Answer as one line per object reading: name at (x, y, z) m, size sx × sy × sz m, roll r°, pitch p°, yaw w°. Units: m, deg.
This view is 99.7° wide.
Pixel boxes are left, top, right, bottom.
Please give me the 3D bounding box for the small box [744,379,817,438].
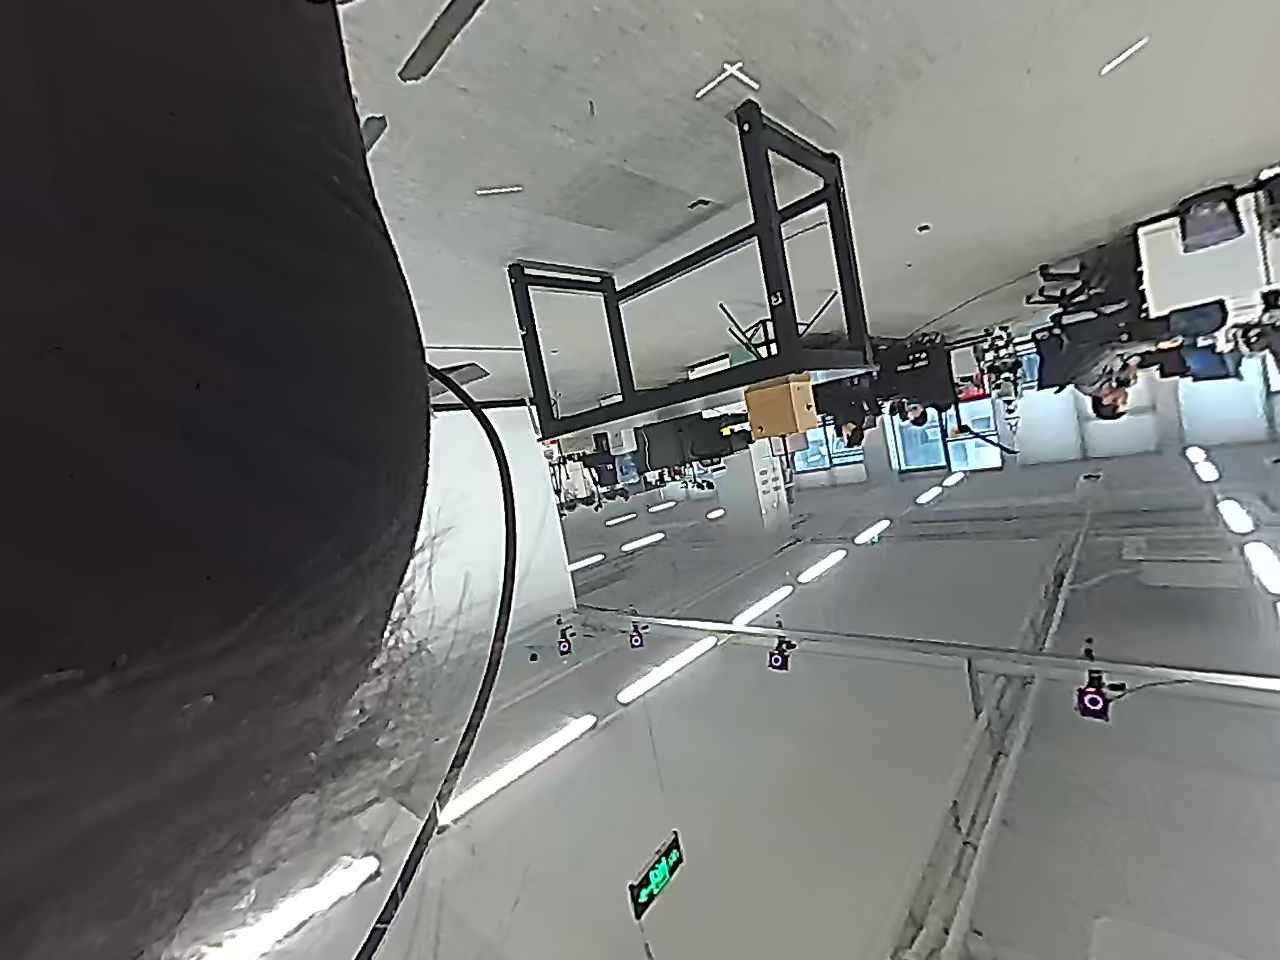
small box at (0.481, -0.251, 1.860) m, size 0.179 × 0.176 × 0.168 m, roll -8°, pitch -176°, yaw 42°
